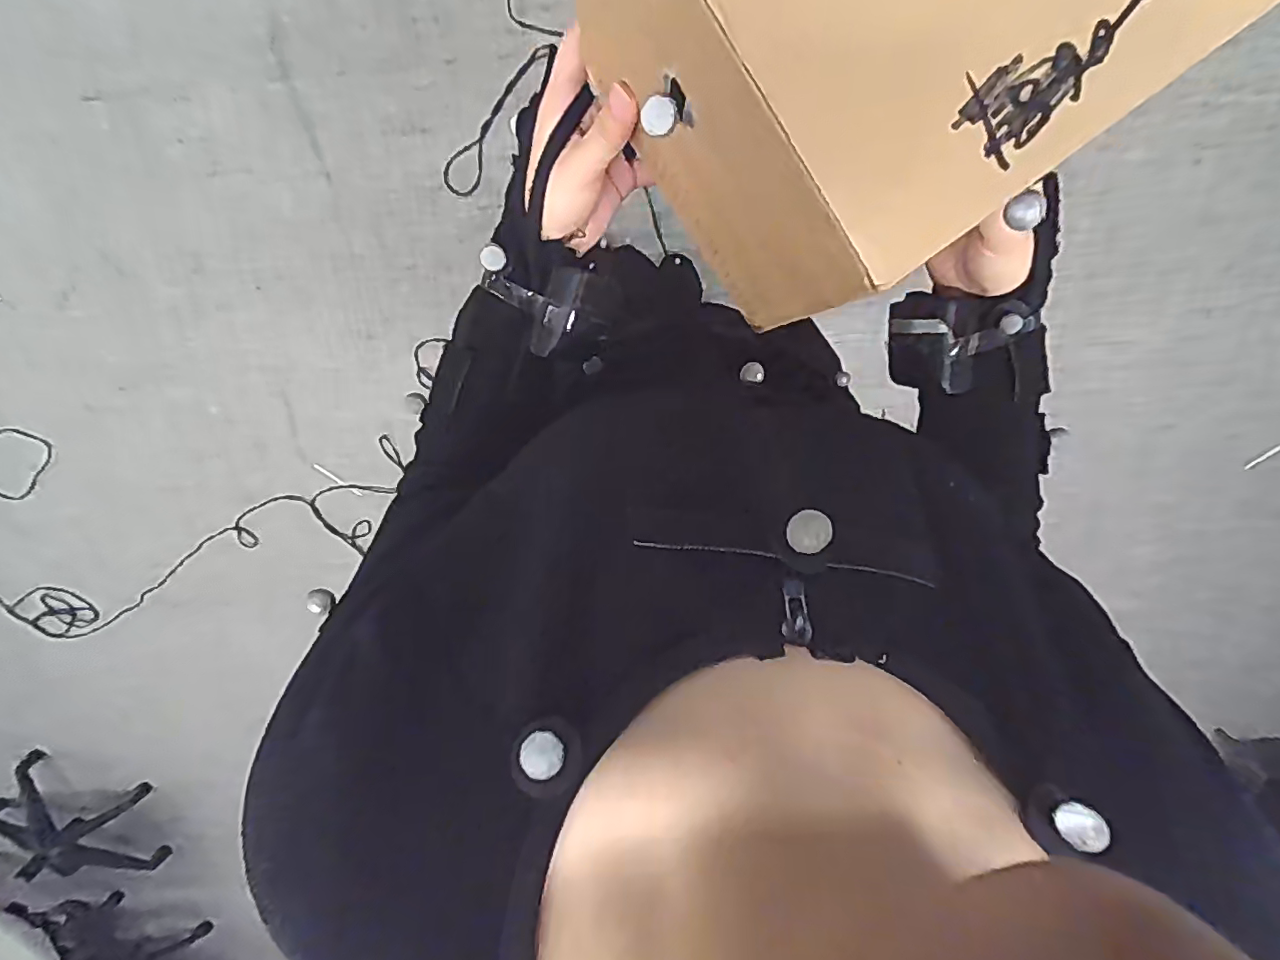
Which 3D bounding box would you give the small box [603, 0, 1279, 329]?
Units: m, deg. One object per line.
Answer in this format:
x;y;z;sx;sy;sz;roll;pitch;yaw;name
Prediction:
0.093;-0.188;0.237;0.168;0.176;0.179;-36;98;6;small box
